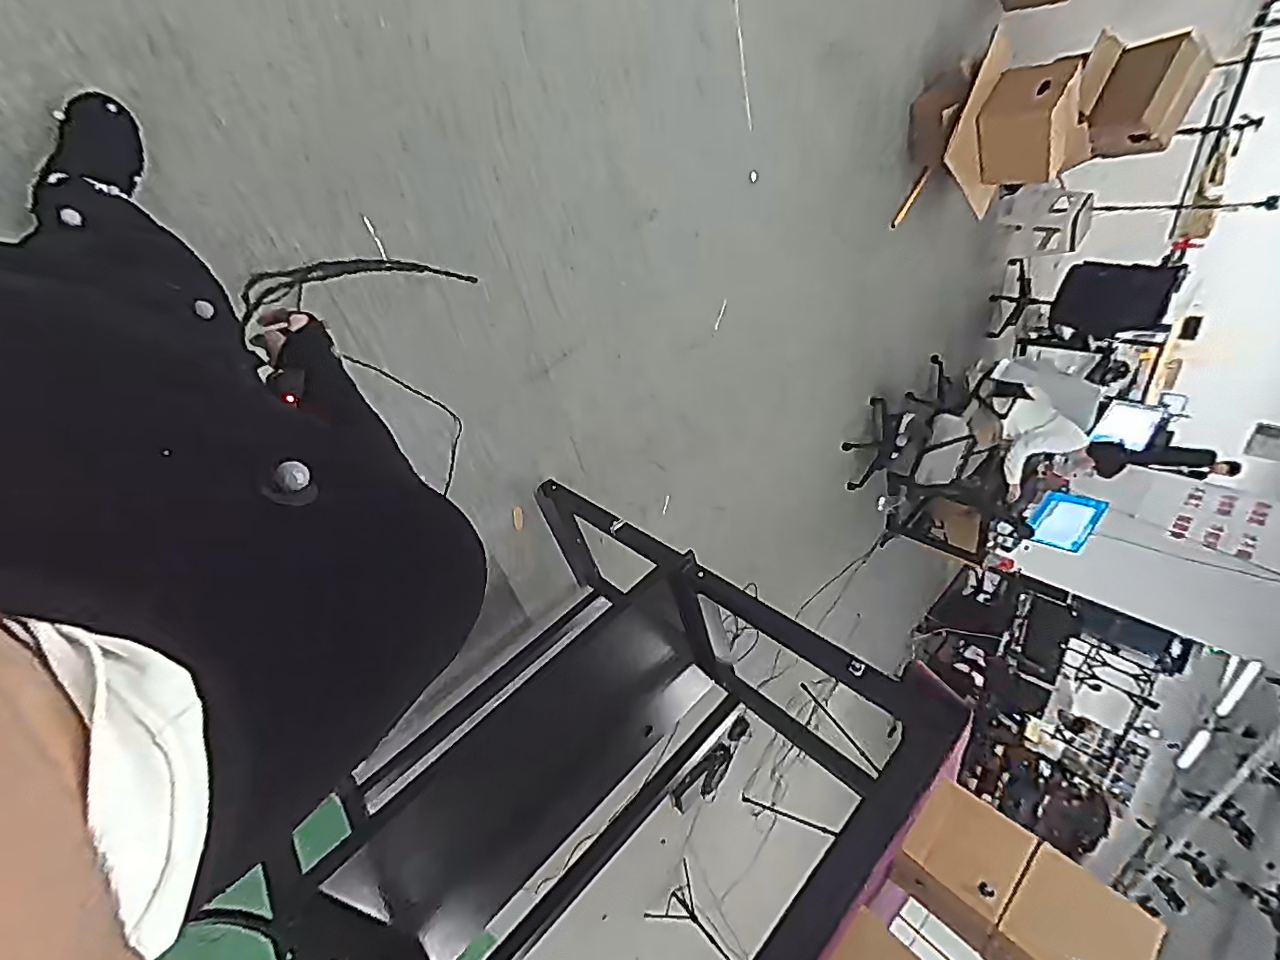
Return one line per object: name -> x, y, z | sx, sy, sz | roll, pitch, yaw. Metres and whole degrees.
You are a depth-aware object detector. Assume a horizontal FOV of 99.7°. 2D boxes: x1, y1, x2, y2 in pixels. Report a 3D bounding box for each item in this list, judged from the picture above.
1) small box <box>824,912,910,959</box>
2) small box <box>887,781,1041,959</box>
small box -> 0.373, 0.851, 0.863 | 0.179, 0.176, 0.168 | -35, 130, -26
small box -> 0.576, 0.693, 0.977 | 0.179, 0.176, 0.168 | -35, 131, -25
